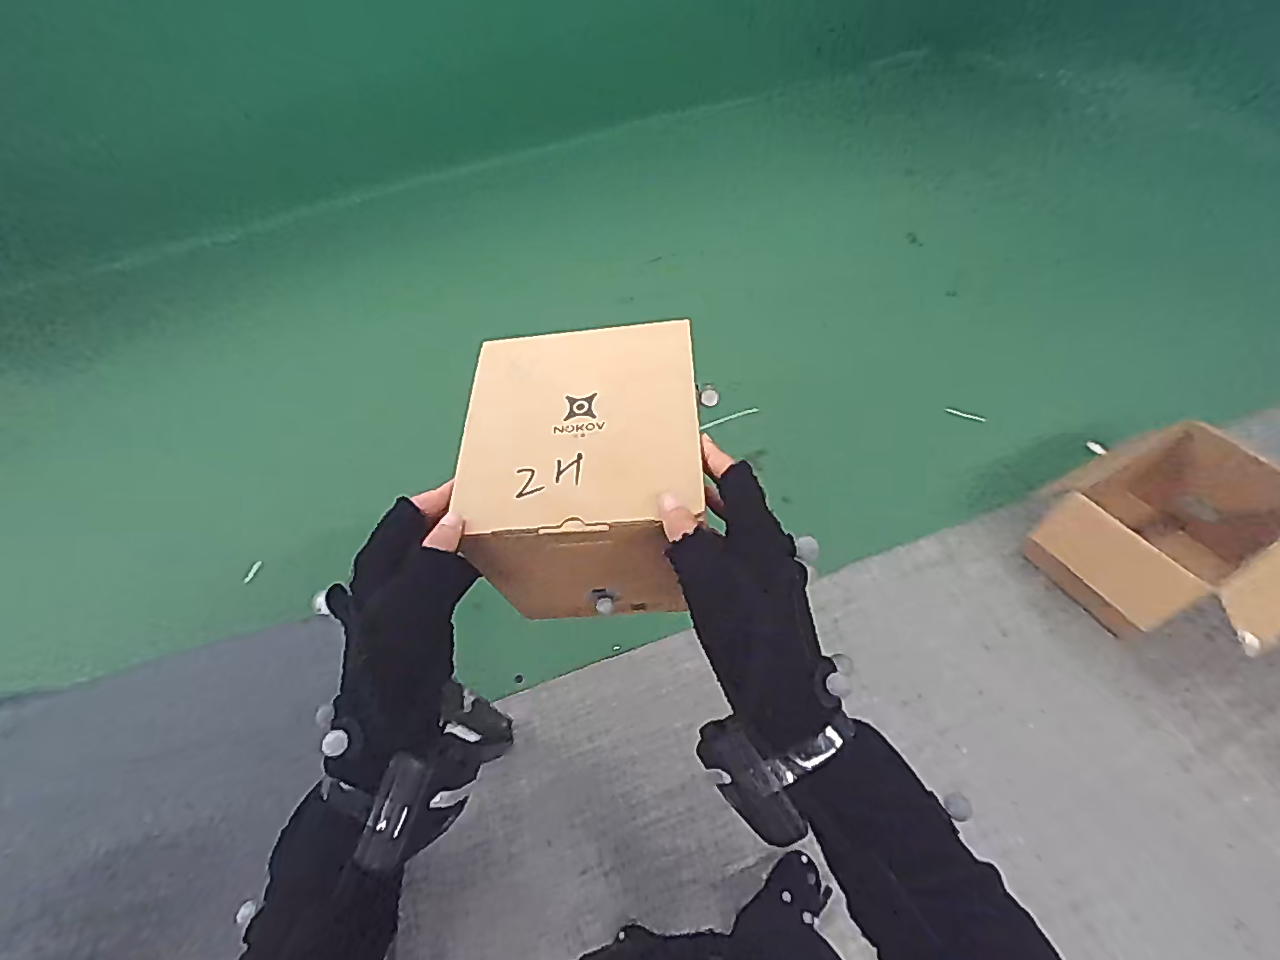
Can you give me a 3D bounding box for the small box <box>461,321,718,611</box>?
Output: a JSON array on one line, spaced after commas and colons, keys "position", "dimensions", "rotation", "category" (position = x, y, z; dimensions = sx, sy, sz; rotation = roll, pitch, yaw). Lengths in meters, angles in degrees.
[{"position": [-0.023, -0.004, 0.447], "dimensions": [0.168, 0.176, 0.179], "rotation": [-3, 58, 7], "category": "small box"}]
